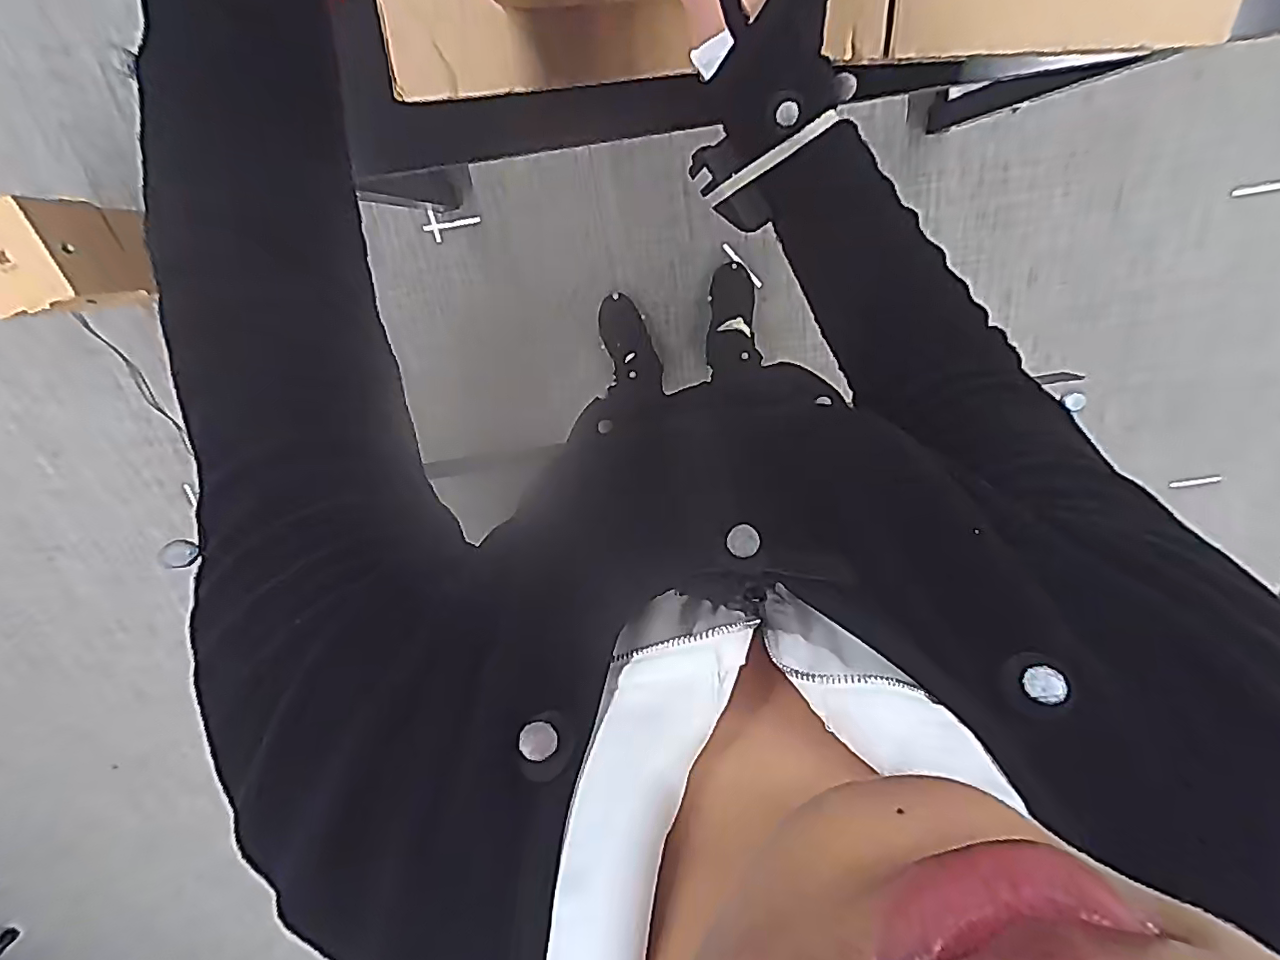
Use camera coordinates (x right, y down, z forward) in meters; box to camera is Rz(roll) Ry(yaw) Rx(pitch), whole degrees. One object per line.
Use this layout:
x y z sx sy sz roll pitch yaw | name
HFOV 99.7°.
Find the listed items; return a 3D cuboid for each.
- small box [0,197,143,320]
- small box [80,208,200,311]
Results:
-1.139 -0.426 1.045 0.168 0.176 0.179 -16 112 3 | small box
-1.143 -0.486 1.196 0.168 0.176 0.179 -12 114 3 | small box
